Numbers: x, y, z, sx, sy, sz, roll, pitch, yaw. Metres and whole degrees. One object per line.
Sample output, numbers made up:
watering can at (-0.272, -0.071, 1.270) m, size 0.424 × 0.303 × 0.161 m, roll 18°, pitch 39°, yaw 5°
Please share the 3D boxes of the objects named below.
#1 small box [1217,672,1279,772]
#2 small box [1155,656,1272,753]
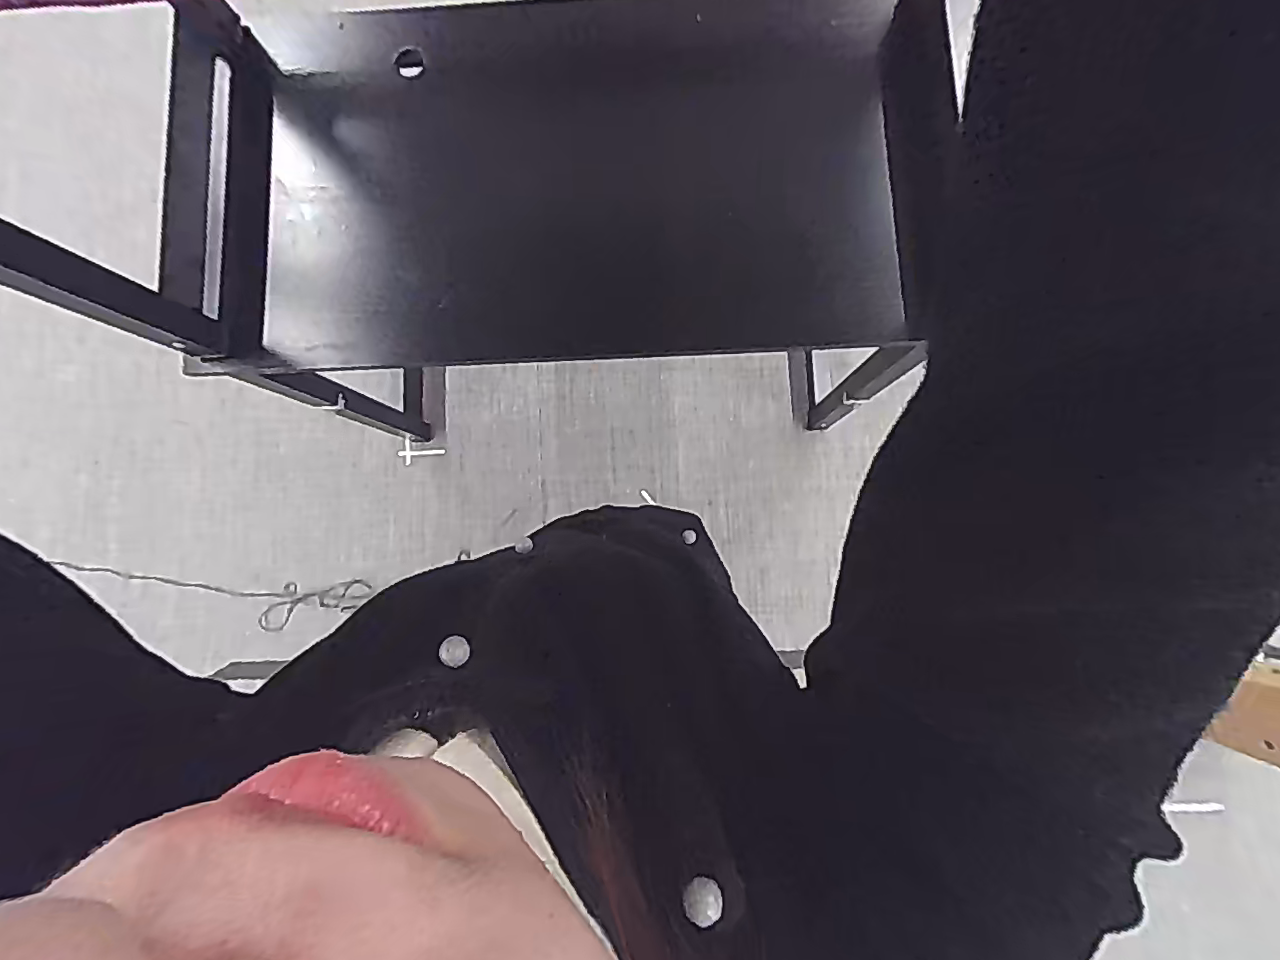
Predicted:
small box at (1.400, 0.521, 1.147) m, size 0.168 × 0.176 × 0.179 m, roll -4°, pitch 84°, yaw 2°
small box at (1.411, 0.537, 1.310) m, size 0.168 × 0.176 × 0.179 m, roll -3°, pitch 85°, yaw 2°
